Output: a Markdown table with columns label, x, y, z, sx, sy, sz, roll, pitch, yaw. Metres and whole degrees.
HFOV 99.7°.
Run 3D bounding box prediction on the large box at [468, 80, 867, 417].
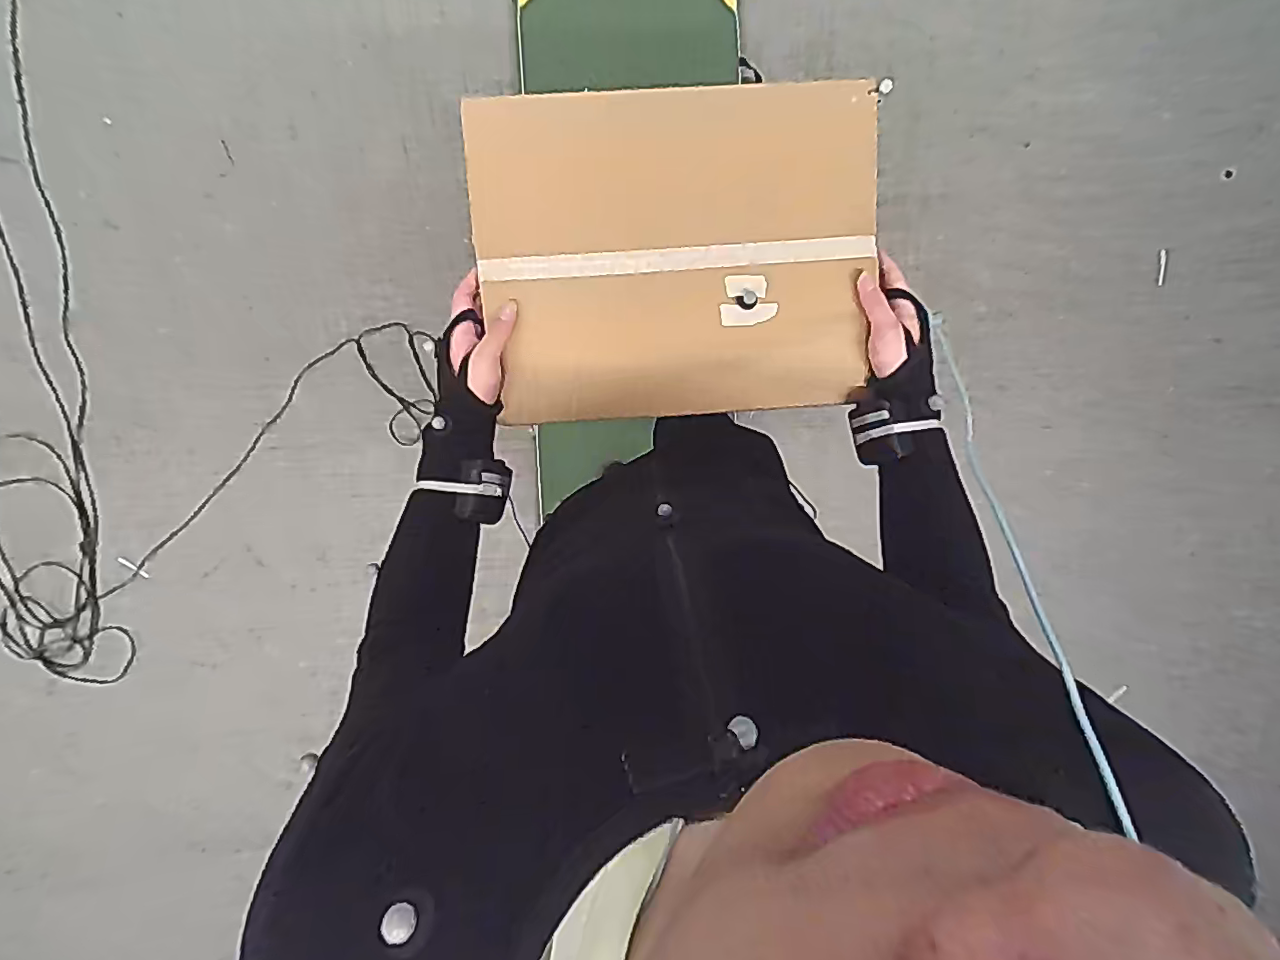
| label | x | y | z | sx | sy | sz | roll | pitch | yaw |
| --- | --- | --- | --- | --- | --- | --- | --- | --- | --- |
| large box | 0.030 | -0.257 | 0.705 | 0.408 | 0.320 | 0.320 | -4 | 100 | -2 |
